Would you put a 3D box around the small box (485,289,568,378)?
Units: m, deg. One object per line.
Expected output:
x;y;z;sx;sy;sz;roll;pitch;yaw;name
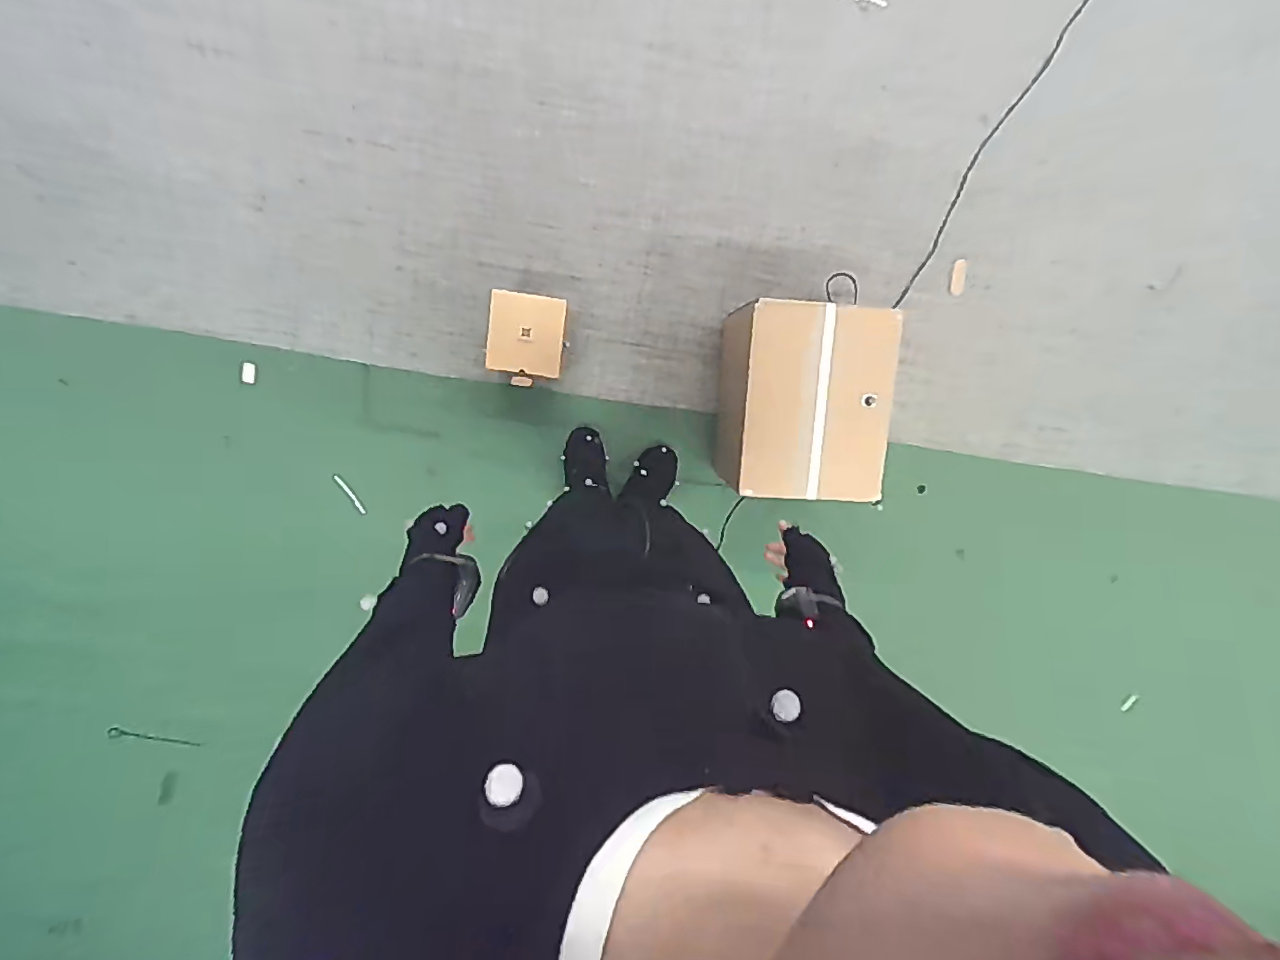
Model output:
-0.263;-0.341;1.283;0.168;0.176;0.179;7;102;-5;small box
